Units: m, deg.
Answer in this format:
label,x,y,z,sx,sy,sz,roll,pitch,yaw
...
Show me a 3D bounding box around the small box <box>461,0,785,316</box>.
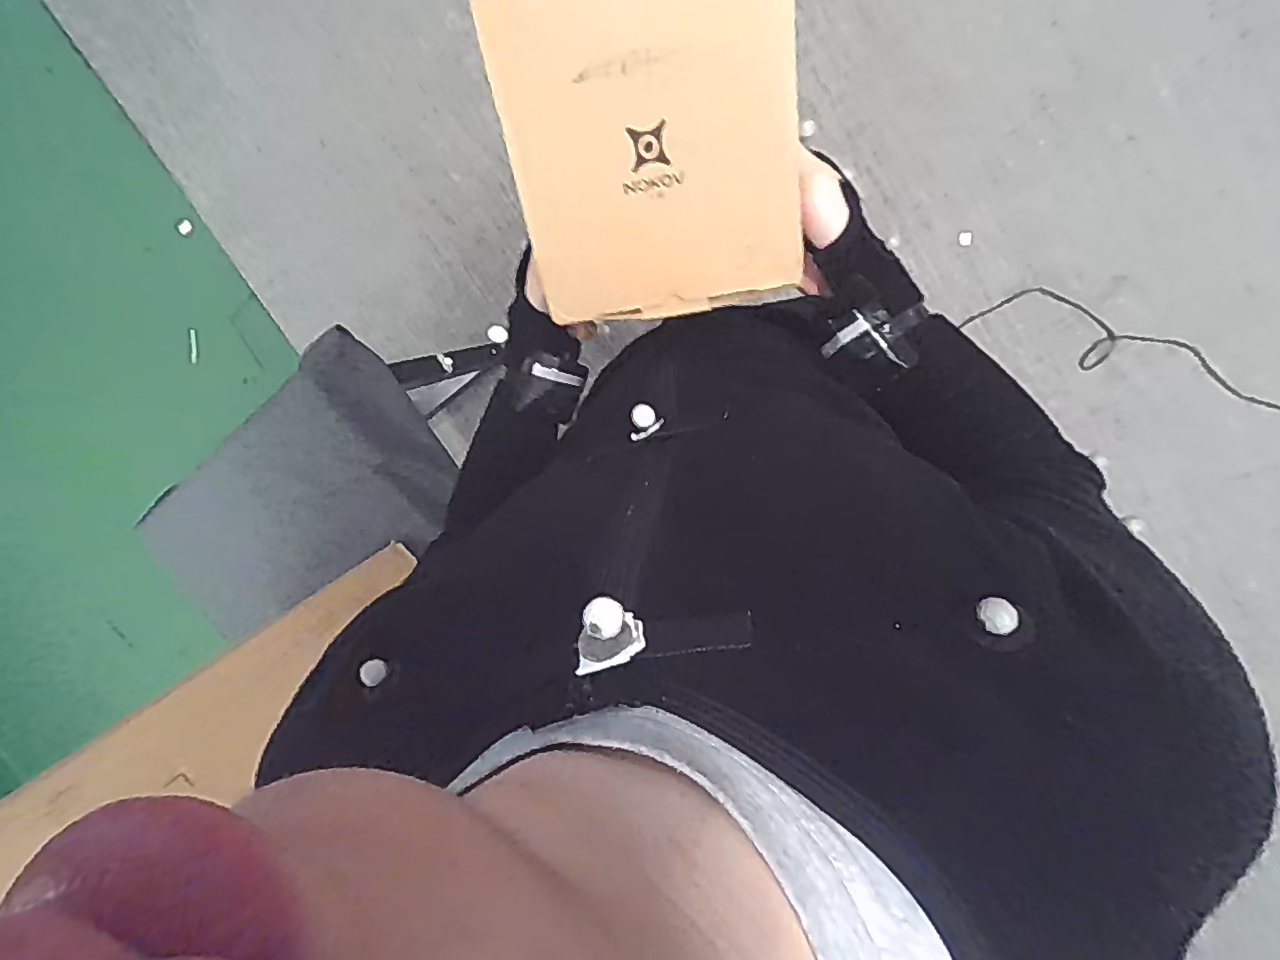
label,x,y,z,sx,sy,sz,roll,pitch,yaw
small box,0.008,-0.231,0.376,0.168,0.176,0.179,-5,119,10
